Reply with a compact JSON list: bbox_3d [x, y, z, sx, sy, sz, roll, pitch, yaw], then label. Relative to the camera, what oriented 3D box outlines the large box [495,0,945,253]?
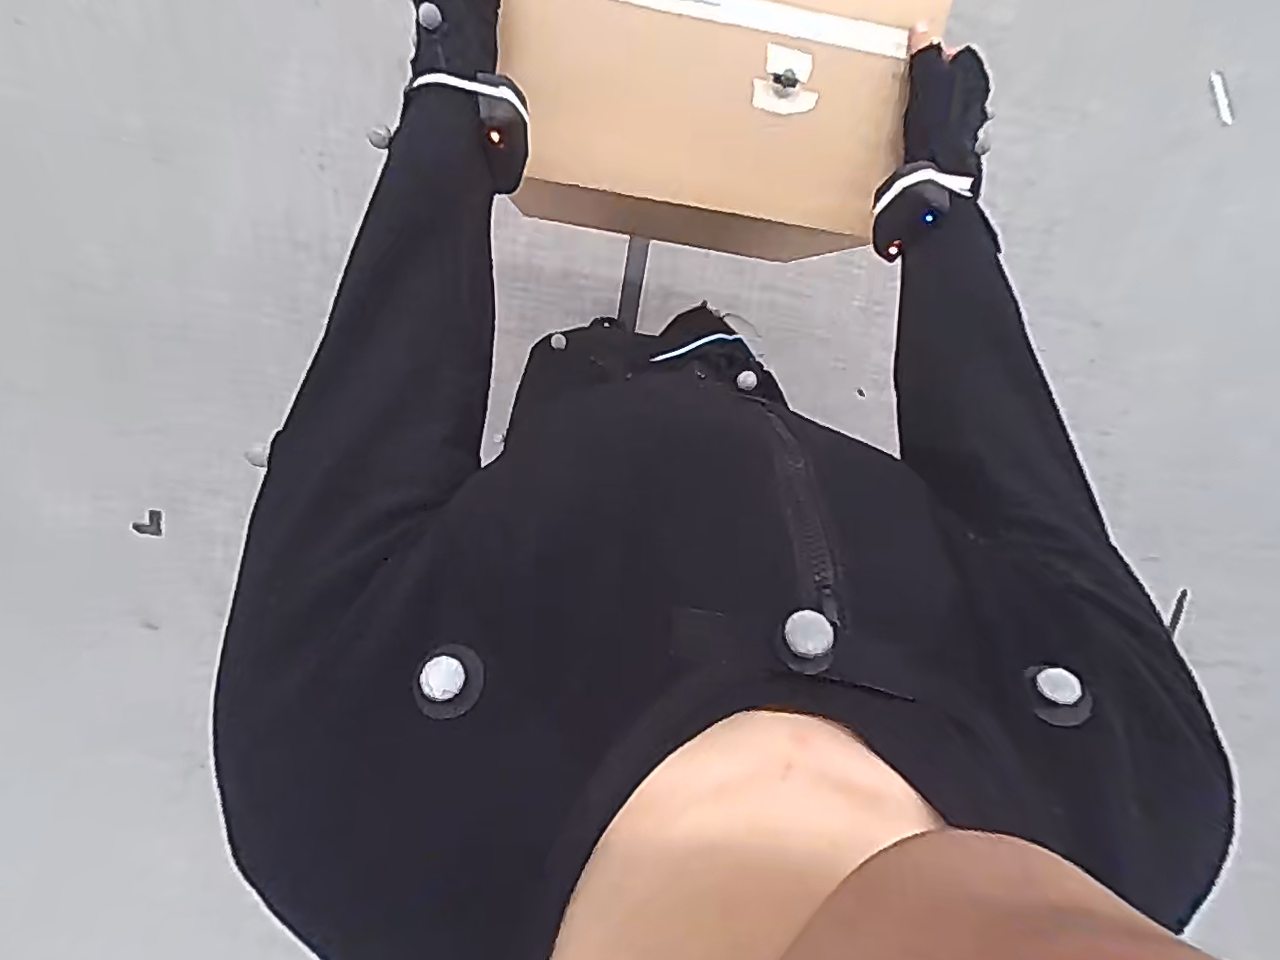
[{"bbox_3d":[0.063,-0.466,0.628,0.408,0.320,0.320,7,109,-8],"label":"large box"}]
